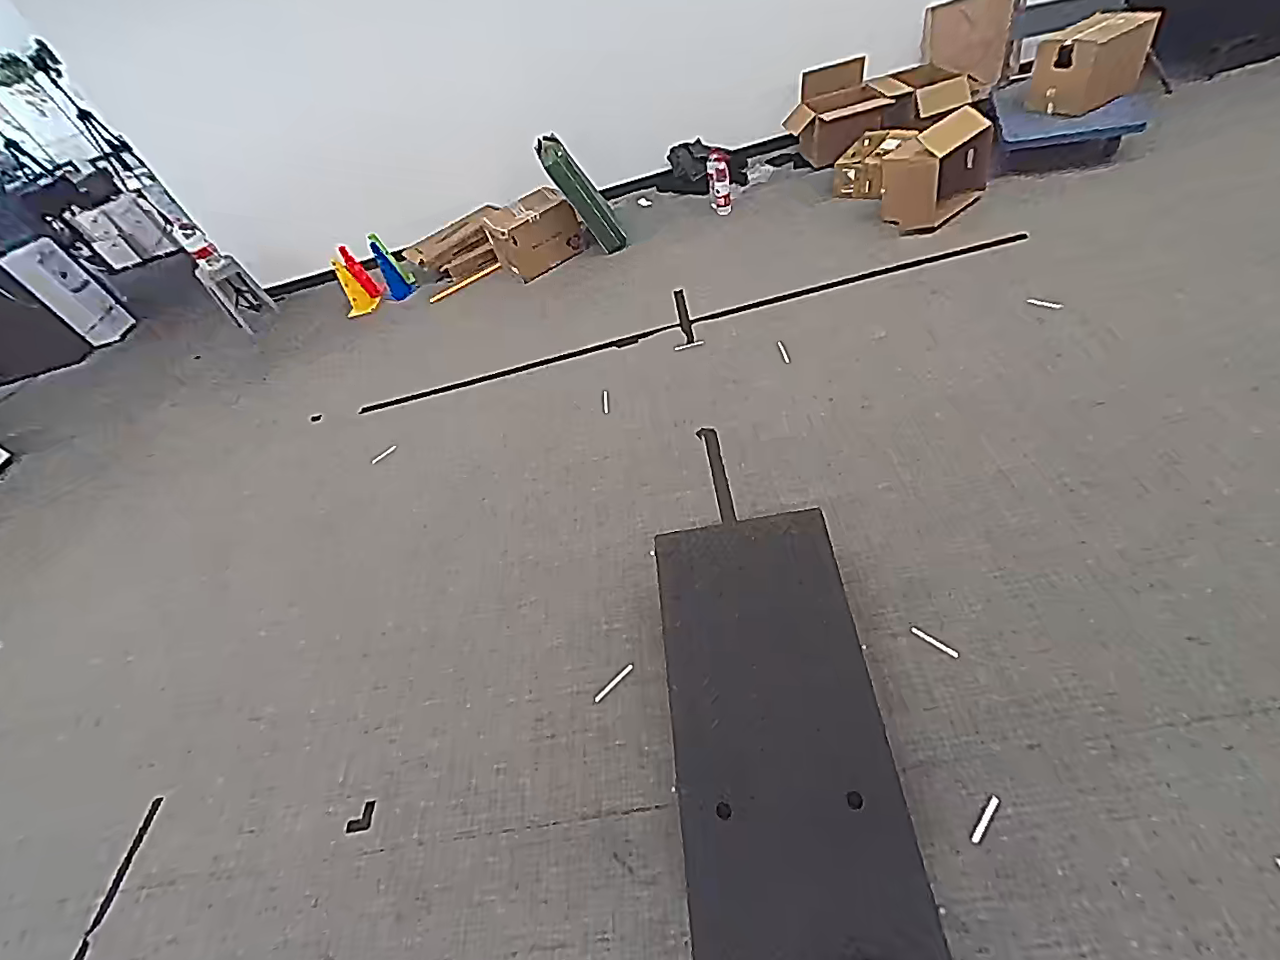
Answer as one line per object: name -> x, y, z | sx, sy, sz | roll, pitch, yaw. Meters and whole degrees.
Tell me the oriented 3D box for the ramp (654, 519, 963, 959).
ramp -> 0.328, 0.573, 1.309 | 0.509, 0.206, 0.991 | -13, 45, 7
